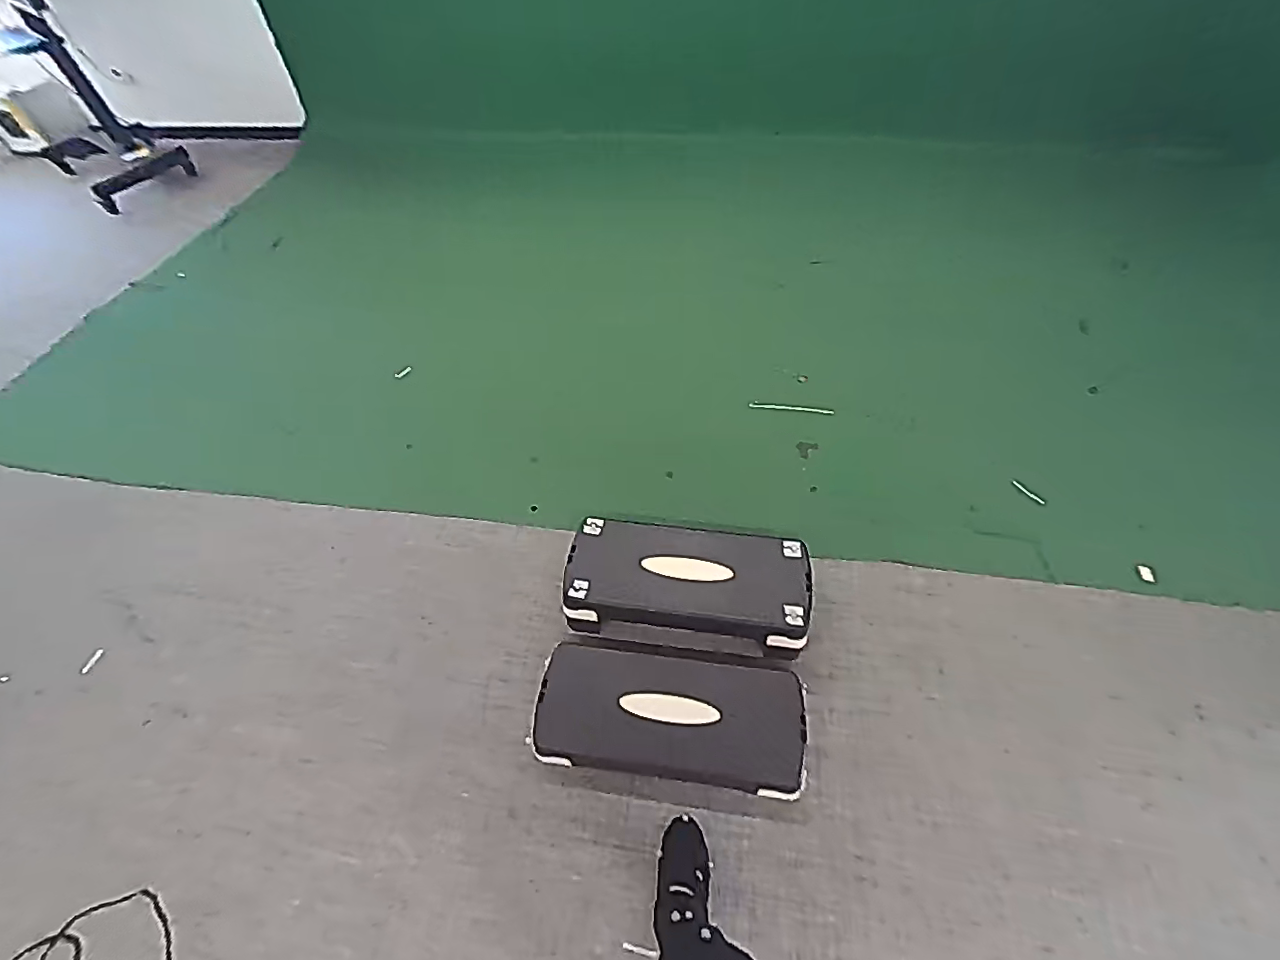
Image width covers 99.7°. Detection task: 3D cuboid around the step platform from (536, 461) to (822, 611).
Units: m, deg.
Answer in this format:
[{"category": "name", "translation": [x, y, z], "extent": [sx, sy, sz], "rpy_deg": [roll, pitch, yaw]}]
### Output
[{"category": "step platform", "translation": [0.097, 0.142, 1.384], "extent": [0.684, 0.204, 0.286], "rpy_deg": [5, 53, 8]}]
